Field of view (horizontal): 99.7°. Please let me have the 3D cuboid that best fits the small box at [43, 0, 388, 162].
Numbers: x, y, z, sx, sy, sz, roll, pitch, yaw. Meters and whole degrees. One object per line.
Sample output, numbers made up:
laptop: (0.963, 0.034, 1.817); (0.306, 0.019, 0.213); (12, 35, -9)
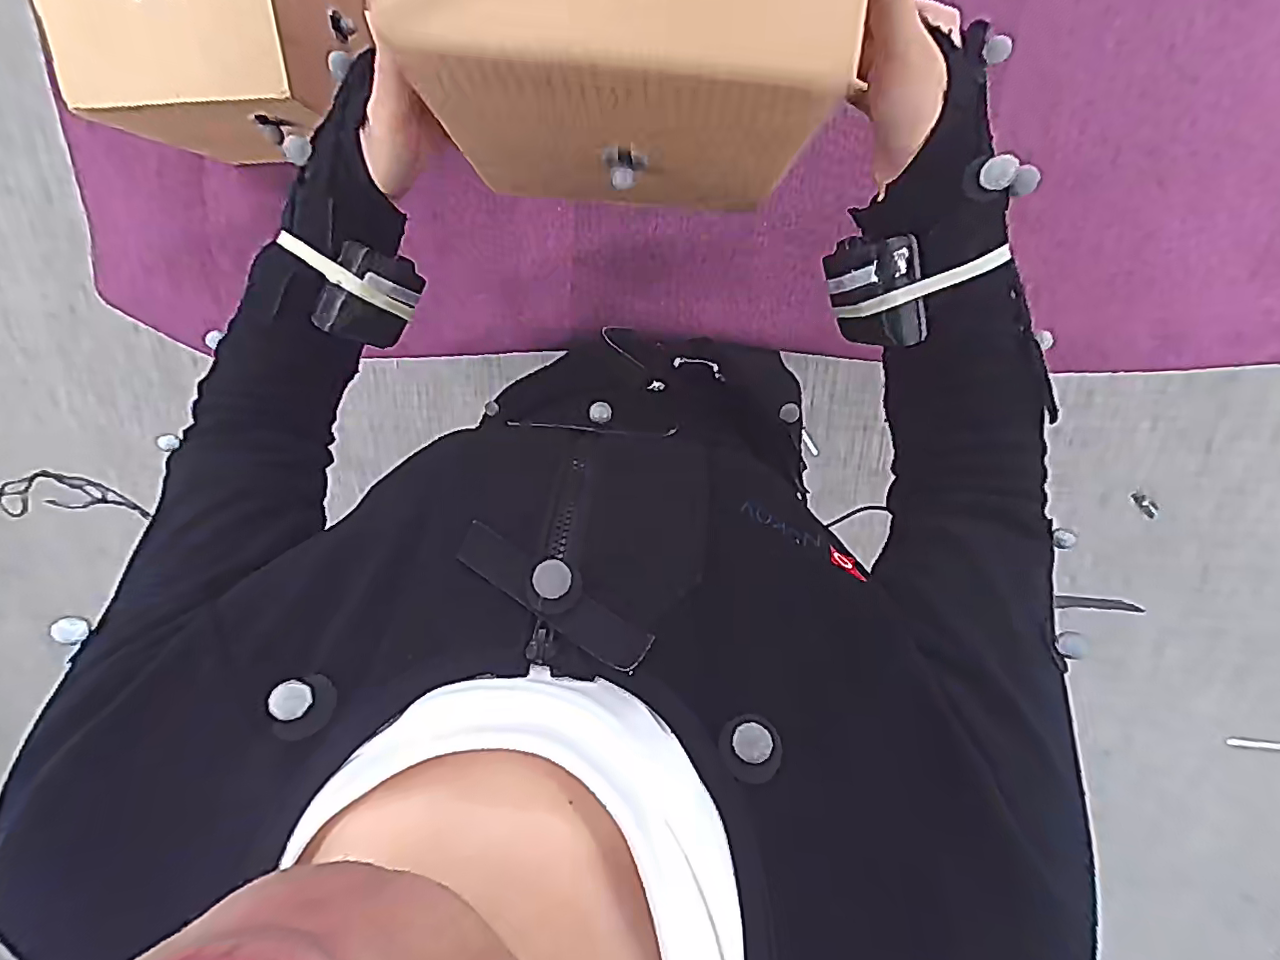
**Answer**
small box: (-0.333, -0.378, 0.449); (0.179, 0.176, 0.168); (-1, 108, 3)
